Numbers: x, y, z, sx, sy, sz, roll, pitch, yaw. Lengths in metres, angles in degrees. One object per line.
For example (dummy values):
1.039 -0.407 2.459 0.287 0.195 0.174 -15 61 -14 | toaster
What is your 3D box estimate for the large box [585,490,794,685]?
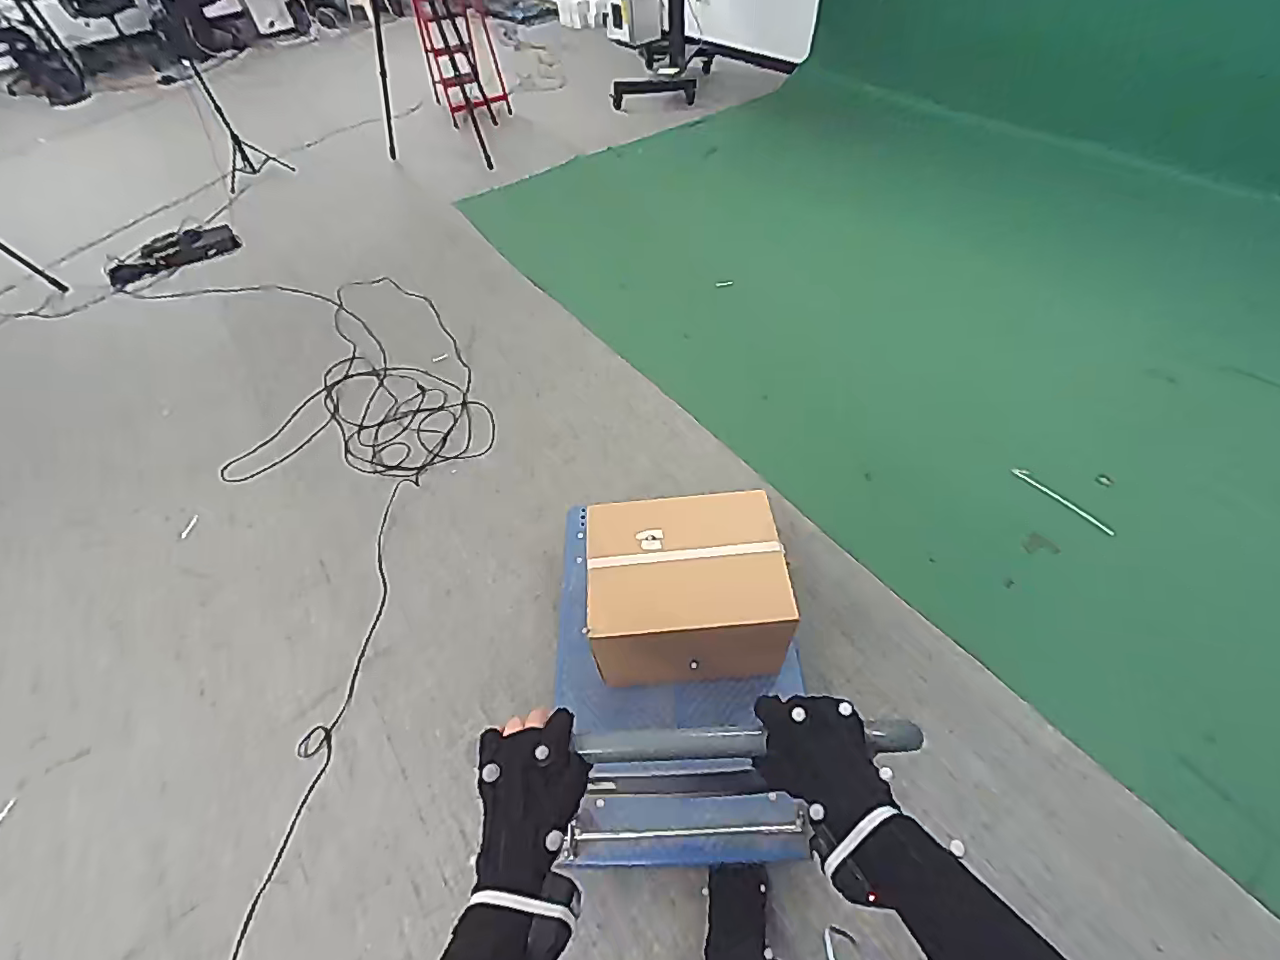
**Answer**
0.099 0.253 1.238 0.408 0.320 0.320 -6 51 1 | large box
